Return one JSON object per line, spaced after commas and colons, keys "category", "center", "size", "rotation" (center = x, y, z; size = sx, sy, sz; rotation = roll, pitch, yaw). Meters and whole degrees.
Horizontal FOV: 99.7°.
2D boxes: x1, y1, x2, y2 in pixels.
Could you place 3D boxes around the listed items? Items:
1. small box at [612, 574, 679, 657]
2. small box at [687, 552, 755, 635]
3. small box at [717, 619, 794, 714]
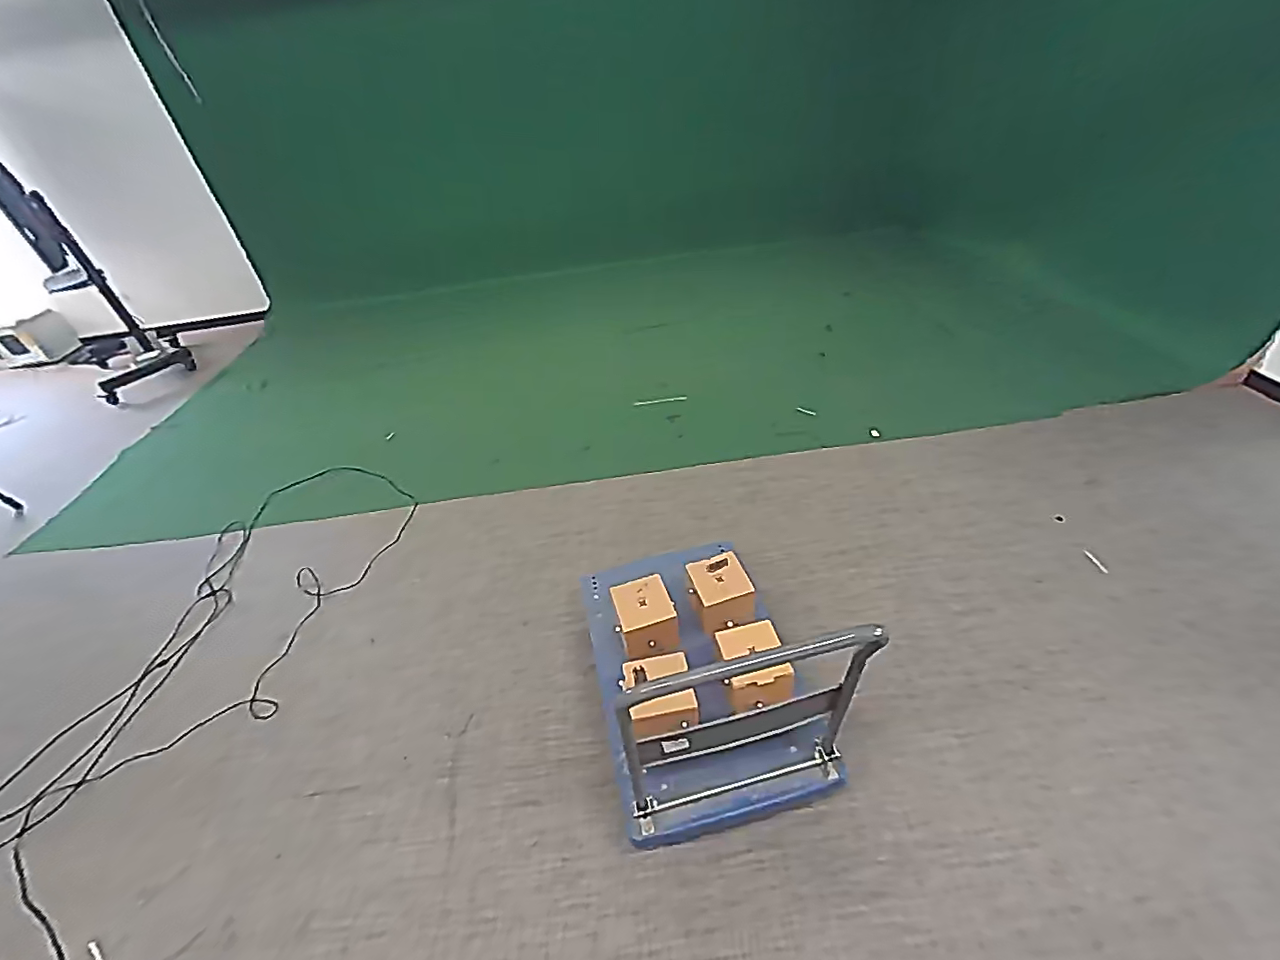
{"category": "small box", "center": [0.020, 0.434, 1.704], "size": [0.168, 0.176, 0.179], "rotation": [-15, 40, -9]}
{"category": "small box", "center": [0.259, 0.367, 1.743], "size": [0.168, 0.176, 0.179], "rotation": [-16, 41, -8]}
{"category": "small box", "center": [0.320, 0.532, 1.538], "size": [0.168, 0.176, 0.179], "rotation": [-12, 40, -5]}
